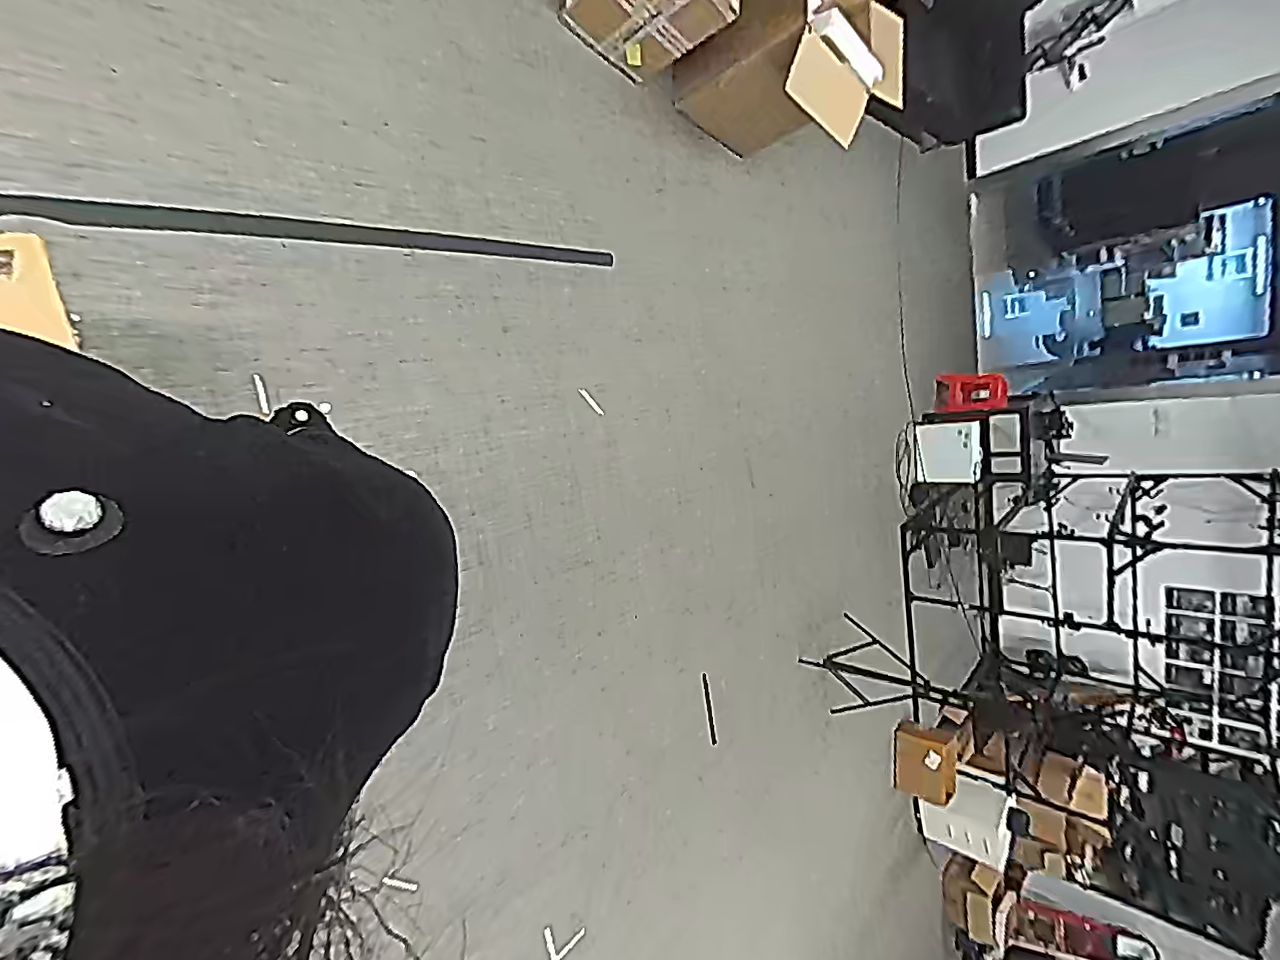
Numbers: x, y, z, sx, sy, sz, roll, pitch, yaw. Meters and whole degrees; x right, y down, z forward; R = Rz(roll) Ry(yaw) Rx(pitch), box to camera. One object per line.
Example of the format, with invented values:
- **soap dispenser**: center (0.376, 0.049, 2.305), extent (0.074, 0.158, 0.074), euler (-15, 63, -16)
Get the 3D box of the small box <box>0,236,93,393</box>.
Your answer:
- **small box**: center (-0.876, -0.215, 0.726), extent (0.168, 0.176, 0.179), euler (-19, 104, -43)
